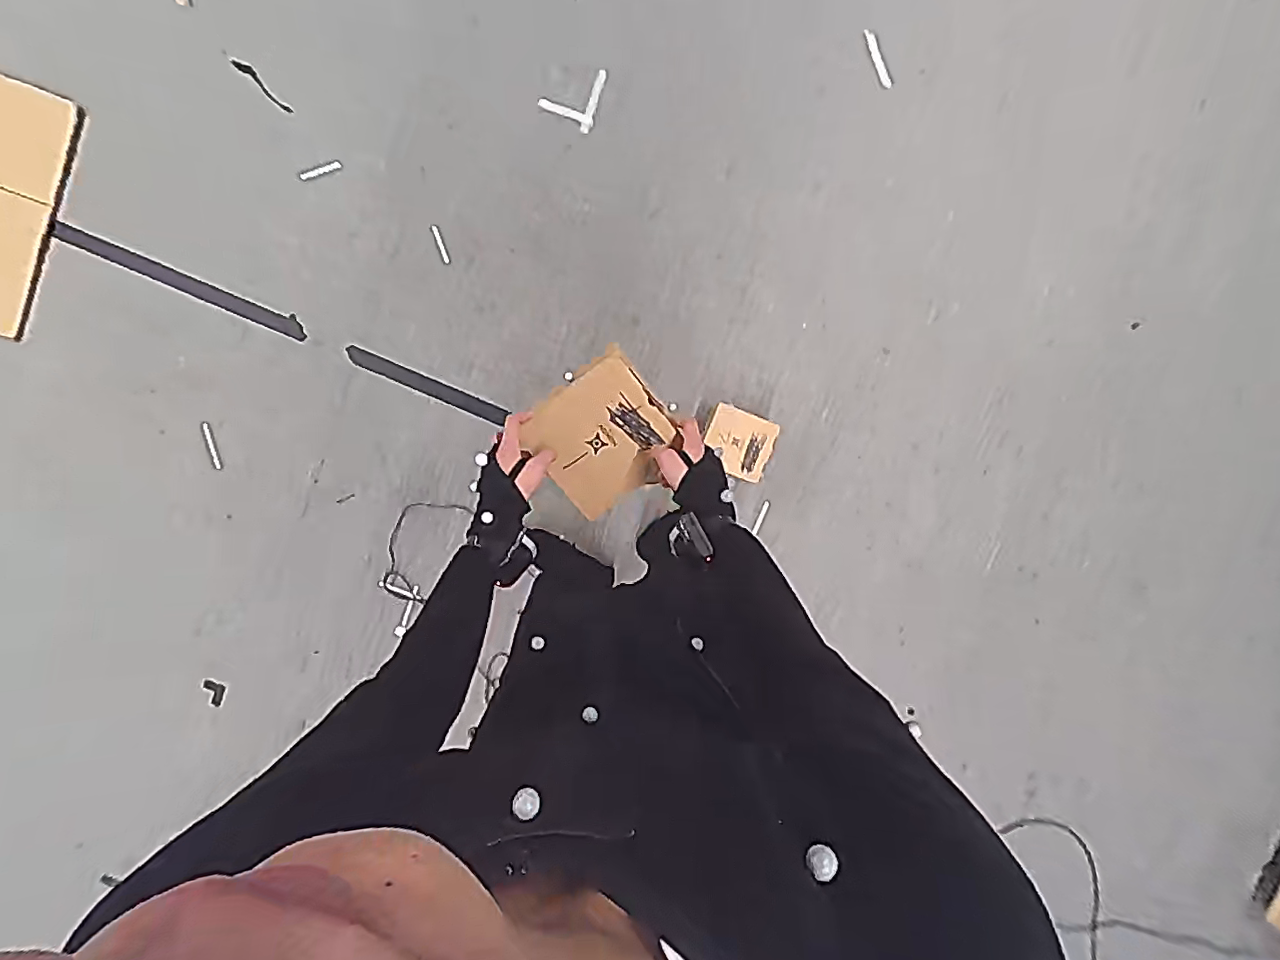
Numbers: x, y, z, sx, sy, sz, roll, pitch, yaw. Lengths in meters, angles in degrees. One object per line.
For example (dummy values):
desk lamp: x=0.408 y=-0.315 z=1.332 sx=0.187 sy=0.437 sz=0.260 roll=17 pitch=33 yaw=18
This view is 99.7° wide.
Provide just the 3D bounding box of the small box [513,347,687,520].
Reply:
small box: x=-0.055 y=-0.078 z=0.790 sx=0.179 sy=0.176 sz=0.168 roll=-38 pitch=104 yaw=10
